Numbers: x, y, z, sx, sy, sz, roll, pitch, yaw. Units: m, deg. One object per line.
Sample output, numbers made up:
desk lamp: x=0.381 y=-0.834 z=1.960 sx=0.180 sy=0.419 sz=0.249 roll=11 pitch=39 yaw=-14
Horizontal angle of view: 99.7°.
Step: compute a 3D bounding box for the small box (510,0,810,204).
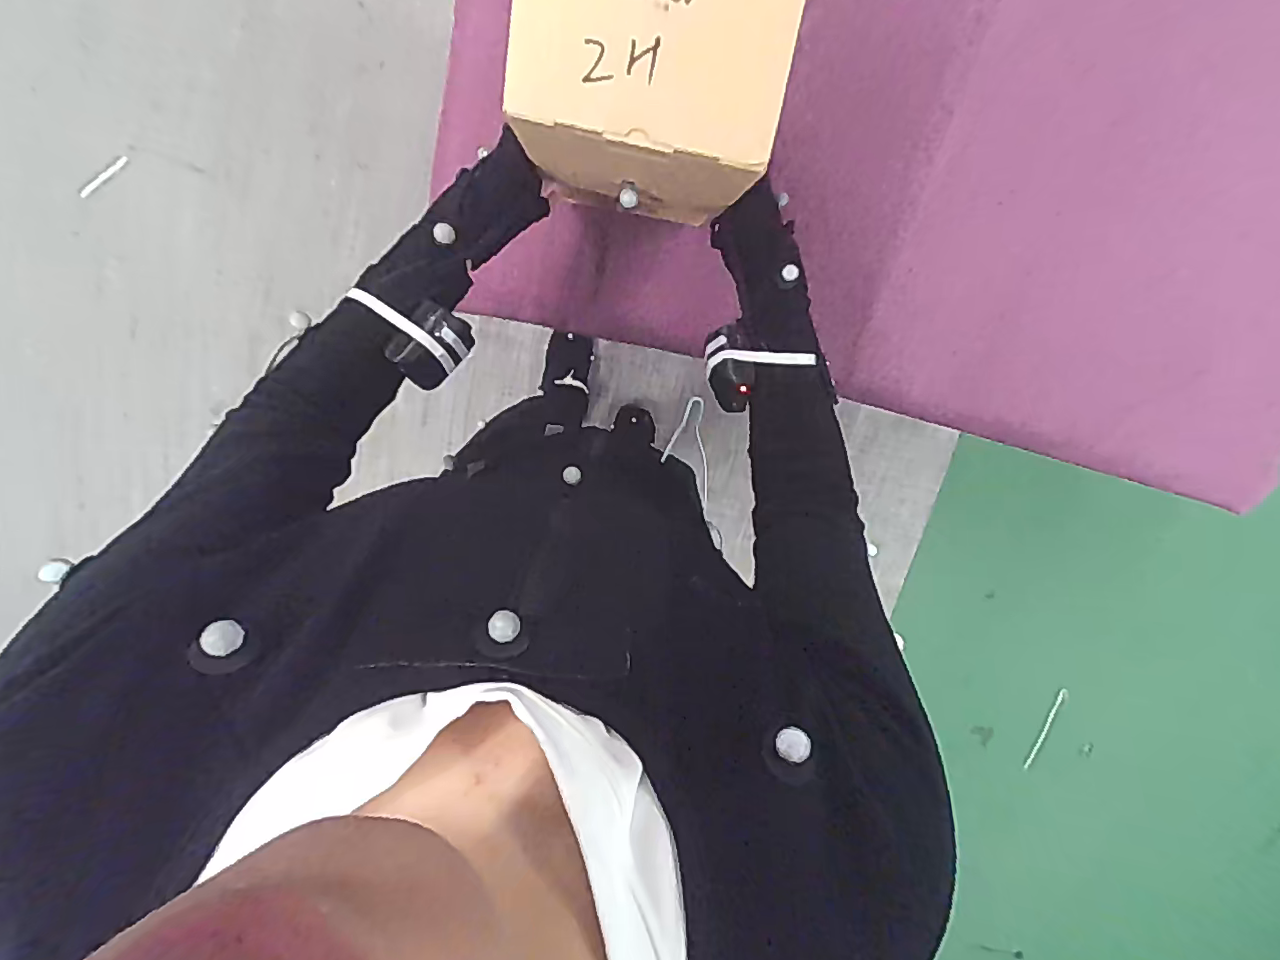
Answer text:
small box: x=0.014 y=-0.317 z=0.379 sx=0.168 sy=0.176 sz=0.179 roll=10 pitch=108 yaw=-6
